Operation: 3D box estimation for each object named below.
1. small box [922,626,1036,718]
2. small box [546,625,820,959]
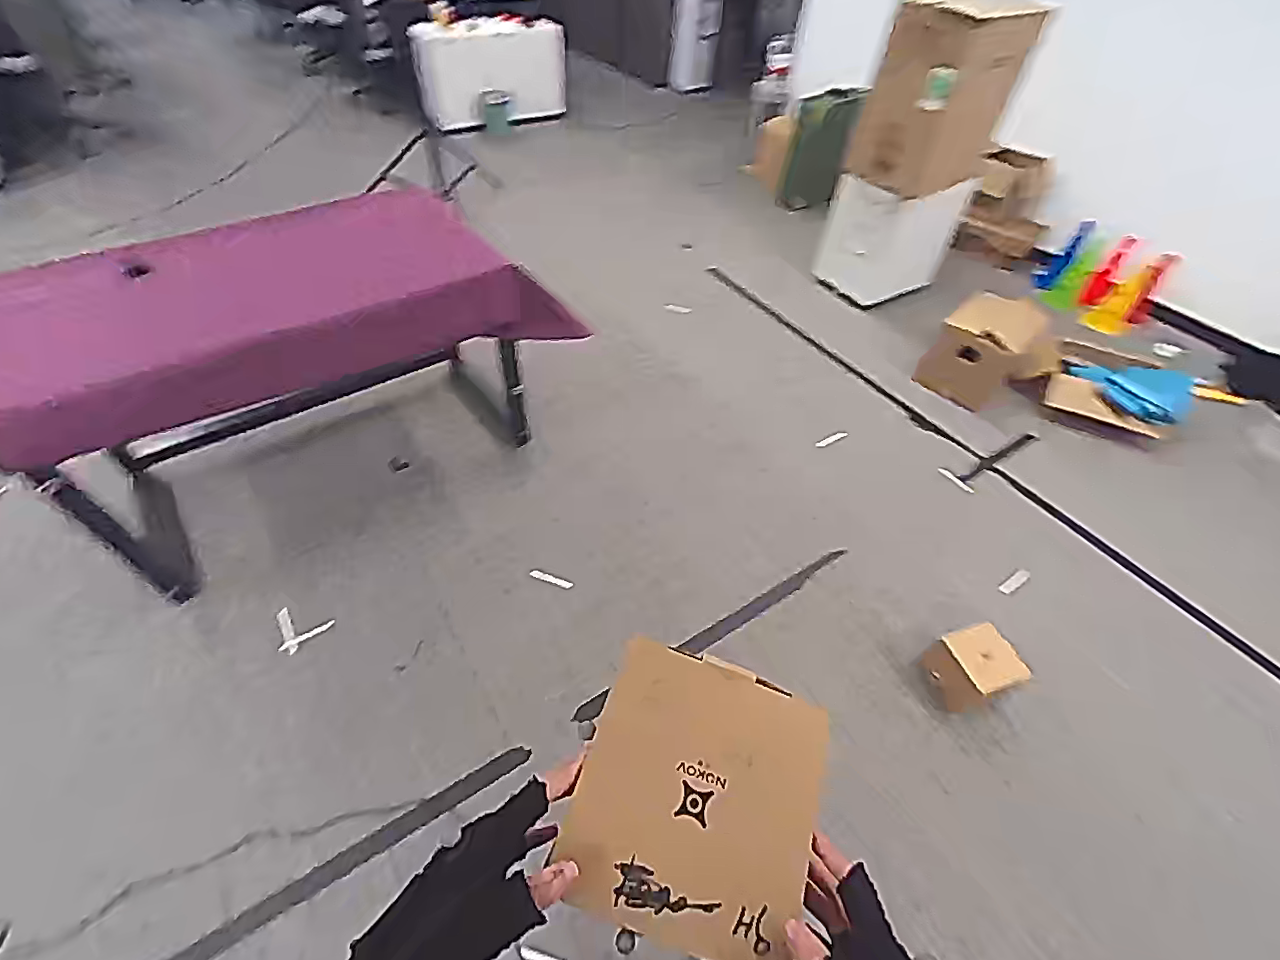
[{"bbox_3d":[0.940,0.540,1.517,0.179,0.176,0.168,-12,50,-14],"label":"small box"},{"bbox_3d":[0.030,0.251,0.451,0.168,0.176,0.179,18,58,4],"label":"small box"}]
